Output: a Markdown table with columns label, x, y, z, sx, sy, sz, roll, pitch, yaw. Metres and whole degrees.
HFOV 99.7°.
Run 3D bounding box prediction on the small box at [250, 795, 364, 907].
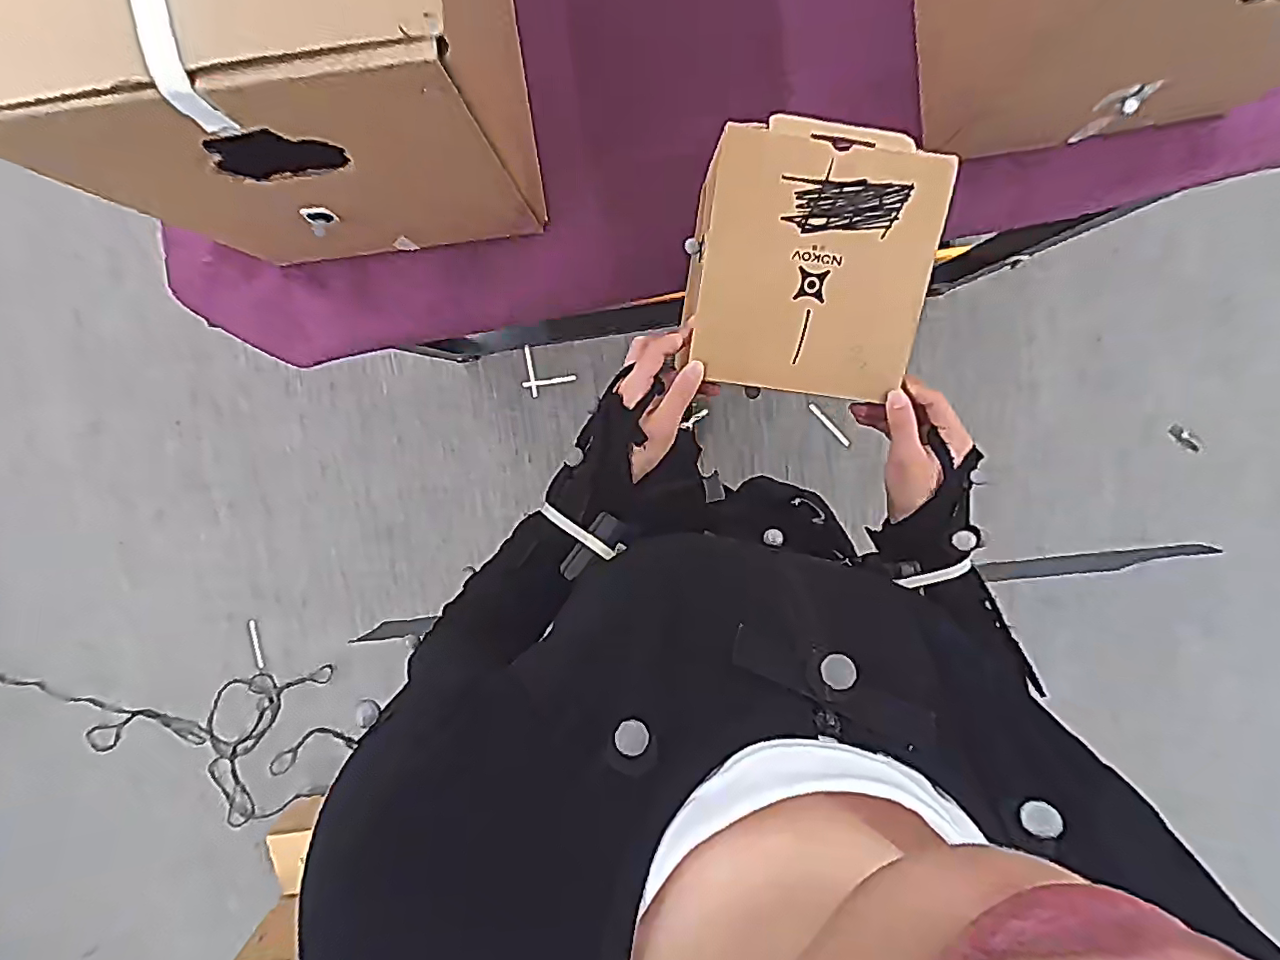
| label | x | y | z | sx | sy | sz | roll | pitch | yaw |
| --- | --- | --- | --- | --- | --- | --- | --- | --- | --- |
| small box | -0.849 | 0.953 | 1.390 | 0.179 | 0.176 | 0.168 | 18 | 84 | -10 |

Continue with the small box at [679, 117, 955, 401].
| label | x | y | z | sx | sy | sz | roll | pitch | yaw |
| --- | --- | --- | --- | --- | --- | --- | --- | --- | --- |
| small box | 0.128 | -0.175 | 0.469 | 0.168 | 0.176 | 0.179 | 8 | 105 | 0 |
